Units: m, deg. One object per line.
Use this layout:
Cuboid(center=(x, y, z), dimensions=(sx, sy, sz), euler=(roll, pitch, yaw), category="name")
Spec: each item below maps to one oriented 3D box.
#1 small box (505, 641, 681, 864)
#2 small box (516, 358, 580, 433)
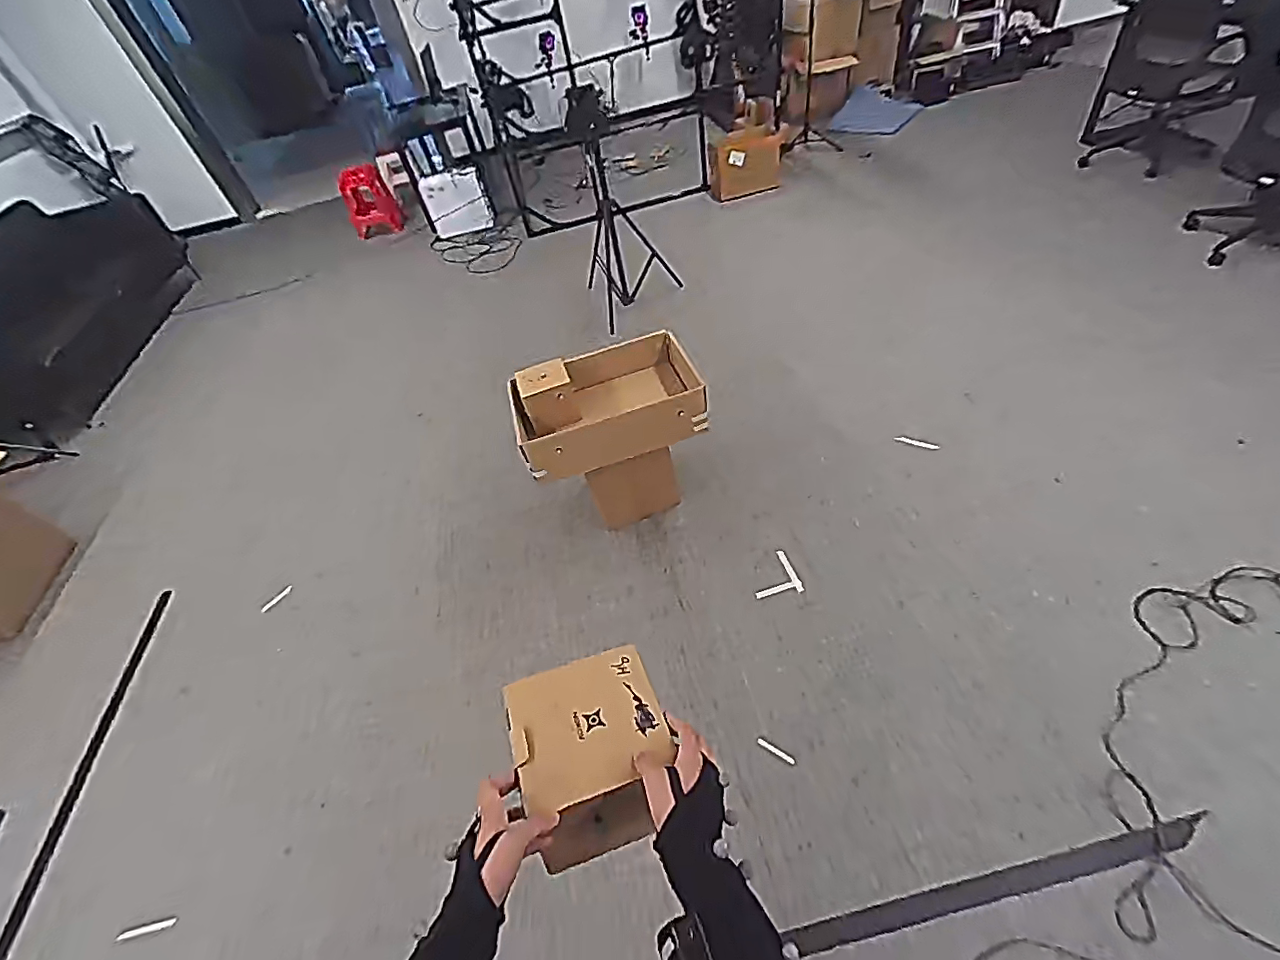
Cuboid(center=(-0.057, 0.340, 0.678), dimensions=(0.179, 0.176, 0.168), euler=(-14, 39, -12), category="small box")
Cuboid(center=(-0.317, -0.295, 1.898), dimensions=(0.179, 0.176, 0.168), euler=(-20, 46, -5), category="small box")
